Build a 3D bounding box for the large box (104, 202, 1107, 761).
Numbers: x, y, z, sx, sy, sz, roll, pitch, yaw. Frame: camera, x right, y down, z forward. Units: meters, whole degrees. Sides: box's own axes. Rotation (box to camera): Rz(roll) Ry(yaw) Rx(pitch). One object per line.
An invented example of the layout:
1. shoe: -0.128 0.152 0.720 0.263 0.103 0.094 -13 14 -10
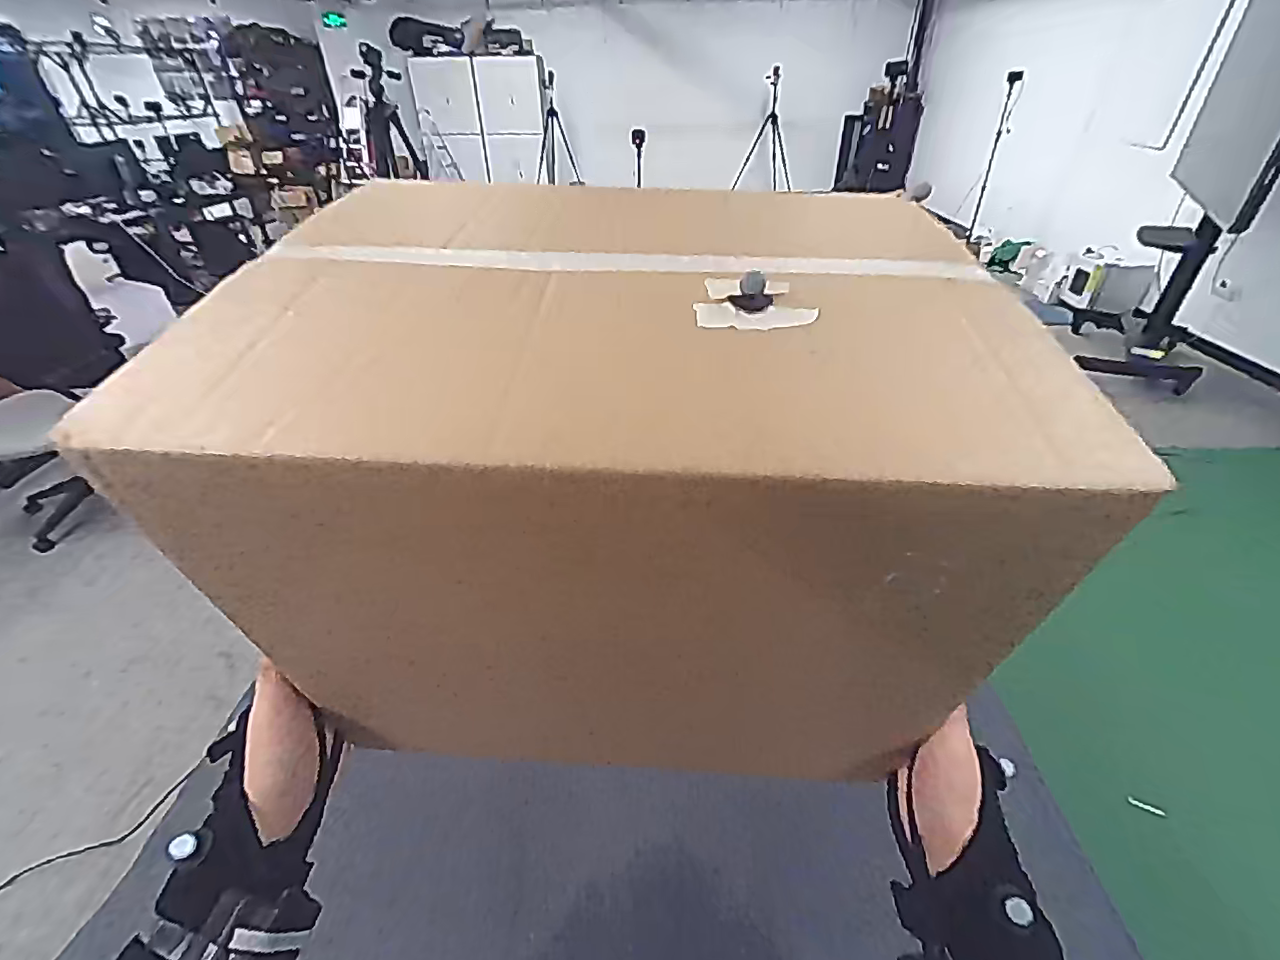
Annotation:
1. large box: -0.014 0.001 0.419 0.408 0.320 0.320 2 46 1
